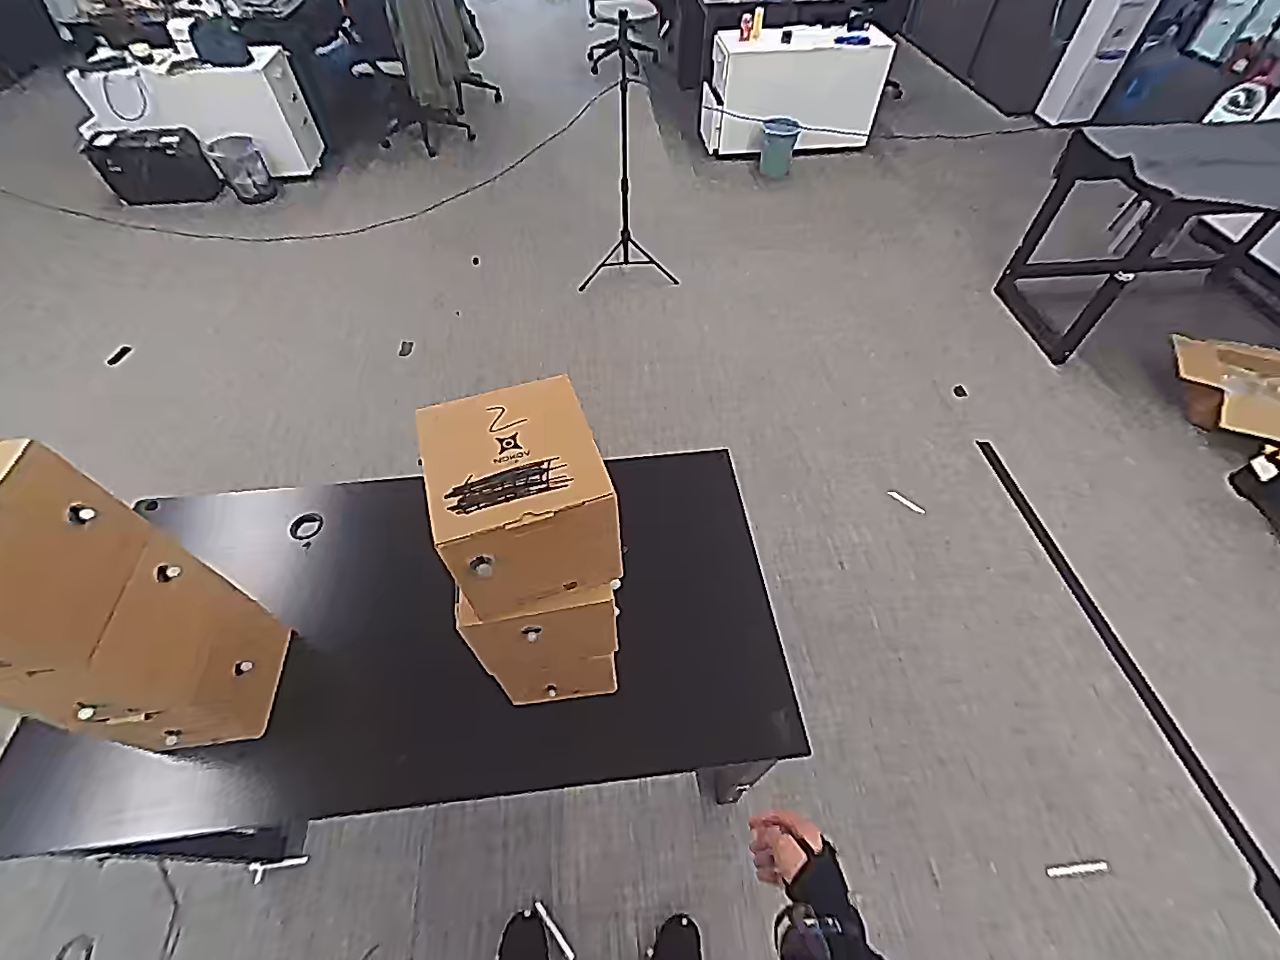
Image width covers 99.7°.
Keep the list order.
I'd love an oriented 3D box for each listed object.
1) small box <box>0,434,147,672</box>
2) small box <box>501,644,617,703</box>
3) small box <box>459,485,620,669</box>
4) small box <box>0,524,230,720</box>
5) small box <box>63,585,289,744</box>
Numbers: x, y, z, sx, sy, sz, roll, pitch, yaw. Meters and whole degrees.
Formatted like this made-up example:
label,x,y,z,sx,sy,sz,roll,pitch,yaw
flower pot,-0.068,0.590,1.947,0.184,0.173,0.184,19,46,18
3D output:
label,x,y,z,sx,sy,sz,roll,pitch,yaw
small box,-0.657,0.079,0.538,0.168,0.176,0.179,-7,54,-4
small box,-0.125,0.225,0.839,0.168,0.176,0.179,-6,53,-4
small box,-0.125,0.131,0.704,0.179,0.176,0.168,-8,54,-7
small box,-0.658,0.177,0.669,0.168,0.176,0.179,-6,53,-4
small box,-0.658,0.278,0.799,0.168,0.176,0.179,-6,54,-5
